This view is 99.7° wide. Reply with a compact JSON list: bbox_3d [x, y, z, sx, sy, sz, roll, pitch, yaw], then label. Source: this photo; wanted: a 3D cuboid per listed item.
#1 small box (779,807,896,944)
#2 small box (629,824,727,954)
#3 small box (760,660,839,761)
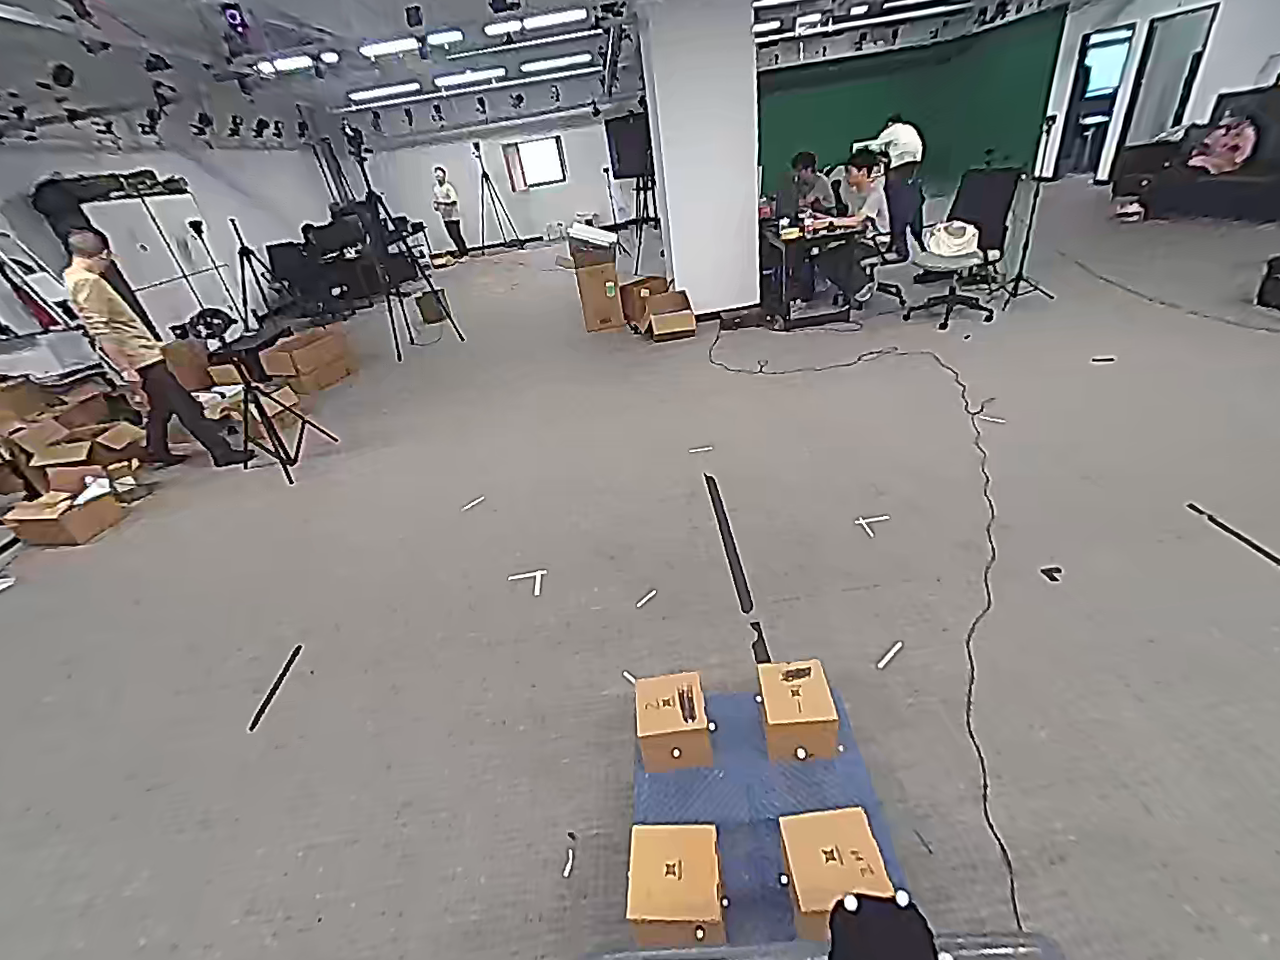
[{"bbox_3d":[0.387,0.789,1.077,0.179,0.176,0.168,-9,31,3],"label":"small box"},{"bbox_3d":[0.080,0.831,1.101,0.179,0.176,0.168,-4,31,6],"label":"small box"},{"bbox_3d":[0.403,0.593,1.393,0.168,0.176,0.179,-7,32,6],"label":"small box"}]
